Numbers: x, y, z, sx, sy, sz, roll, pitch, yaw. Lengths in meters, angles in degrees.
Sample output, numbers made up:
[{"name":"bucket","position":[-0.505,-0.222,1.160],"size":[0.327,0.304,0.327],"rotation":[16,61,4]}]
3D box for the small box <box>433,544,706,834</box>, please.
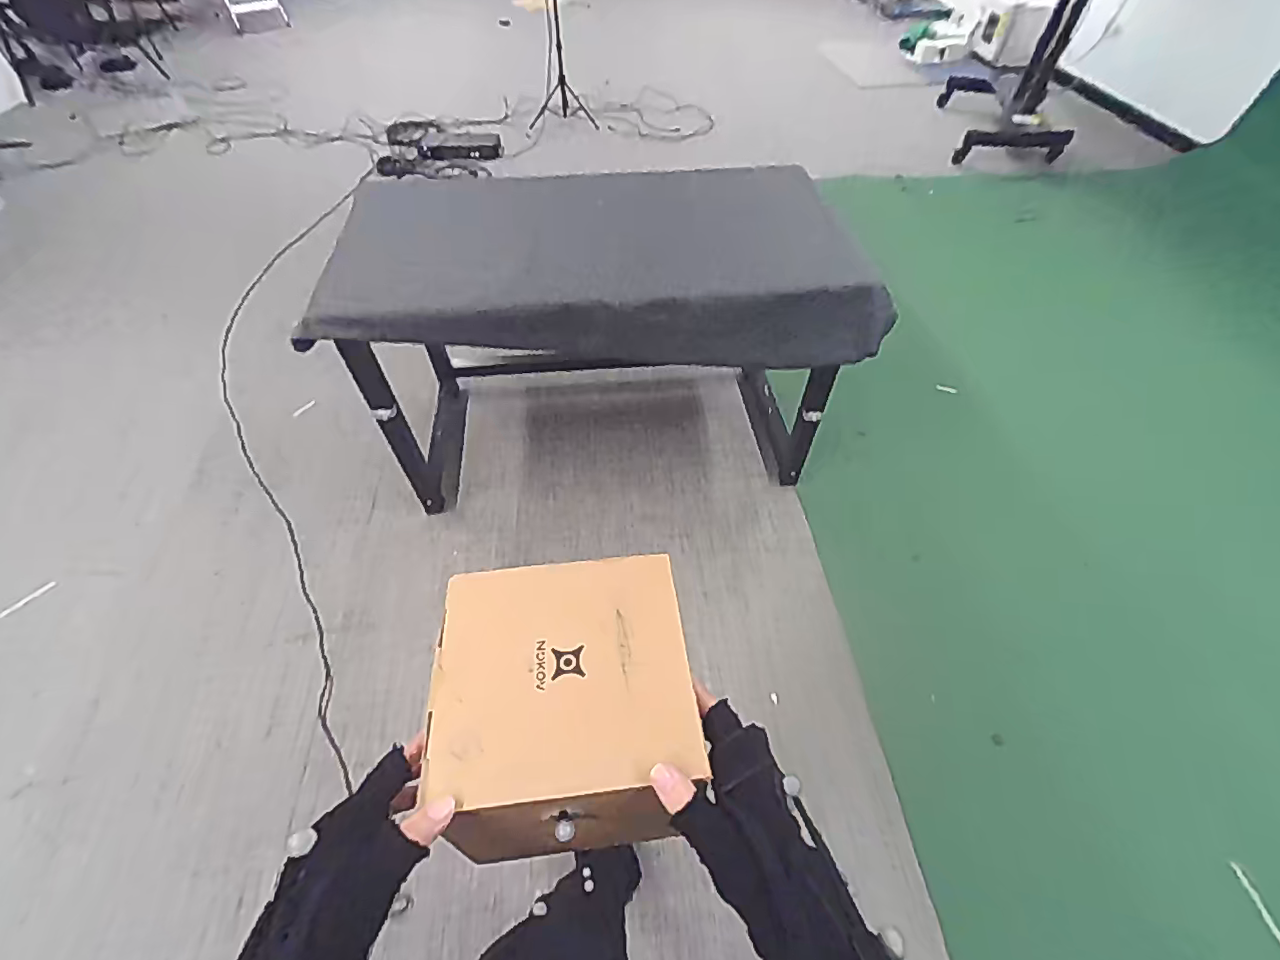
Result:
[{"name":"small box","position":[-0.052,0.175,0.450],"size":[0.179,0.176,0.168],"rotation":[-5,48,-6]}]
